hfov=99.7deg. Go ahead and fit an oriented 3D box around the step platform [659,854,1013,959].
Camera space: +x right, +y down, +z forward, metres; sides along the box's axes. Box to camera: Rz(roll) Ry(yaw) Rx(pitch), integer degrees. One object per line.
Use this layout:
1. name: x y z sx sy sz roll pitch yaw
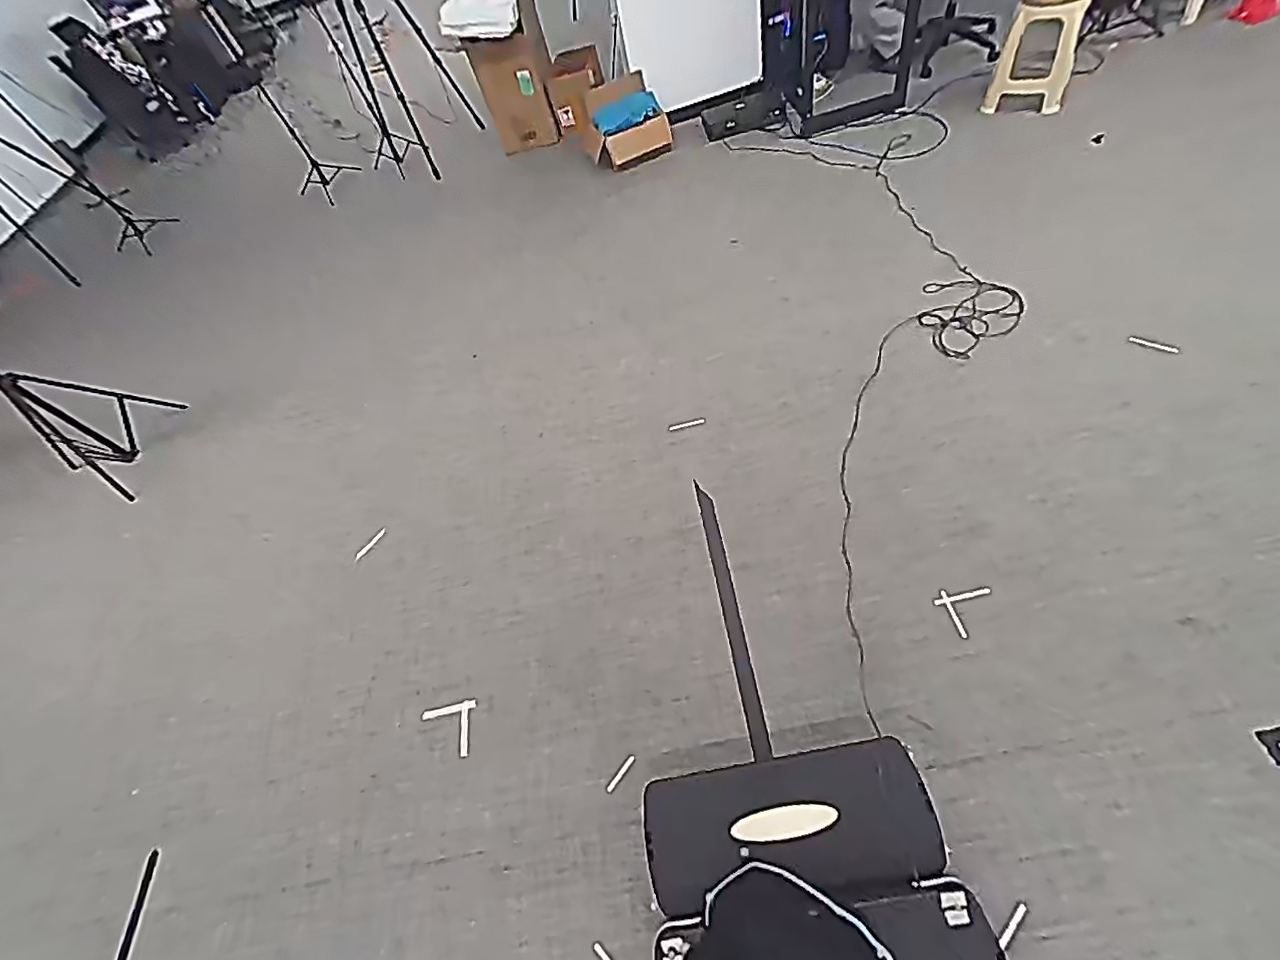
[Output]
1. step platform: 0.382 0.992 1.104 0.684 0.204 0.286 -15 53 6
